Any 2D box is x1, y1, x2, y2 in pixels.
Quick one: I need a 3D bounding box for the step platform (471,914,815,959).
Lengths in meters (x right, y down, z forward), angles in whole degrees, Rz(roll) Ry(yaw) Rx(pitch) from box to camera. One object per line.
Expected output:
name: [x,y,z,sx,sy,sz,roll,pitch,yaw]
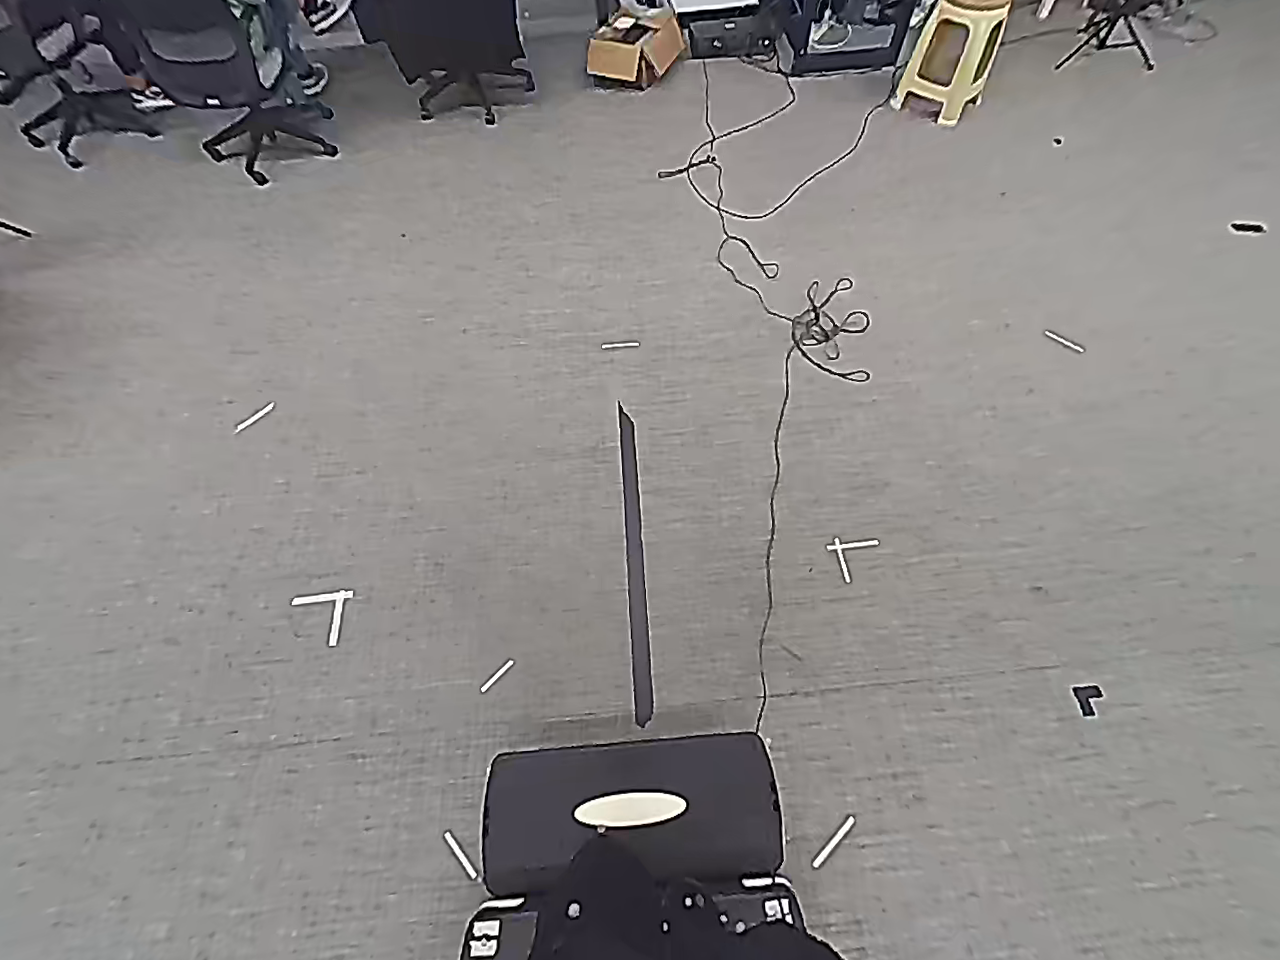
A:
step platform: [0.006,1.021,1.024,0.684,0.204,0.286,-2,58,3]
